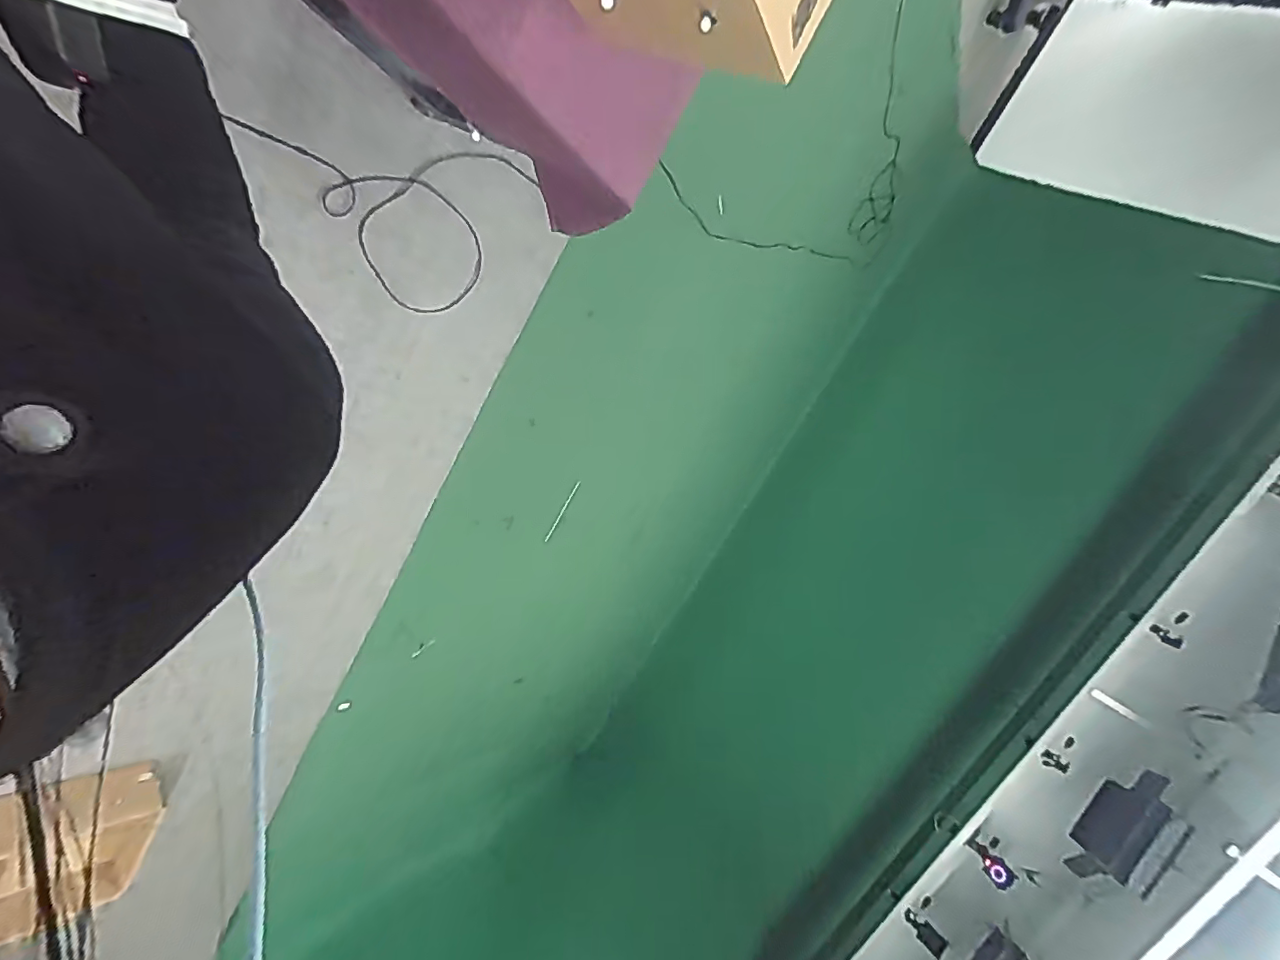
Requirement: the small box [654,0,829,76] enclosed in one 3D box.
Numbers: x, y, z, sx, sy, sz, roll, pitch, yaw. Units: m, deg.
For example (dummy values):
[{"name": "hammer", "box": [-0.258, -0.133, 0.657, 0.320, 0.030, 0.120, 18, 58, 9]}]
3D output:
[{"name": "small box", "box": [0.114, -0.598, 0.594, 0.179, 0.176, 0.168, 10, 112, -58]}]
